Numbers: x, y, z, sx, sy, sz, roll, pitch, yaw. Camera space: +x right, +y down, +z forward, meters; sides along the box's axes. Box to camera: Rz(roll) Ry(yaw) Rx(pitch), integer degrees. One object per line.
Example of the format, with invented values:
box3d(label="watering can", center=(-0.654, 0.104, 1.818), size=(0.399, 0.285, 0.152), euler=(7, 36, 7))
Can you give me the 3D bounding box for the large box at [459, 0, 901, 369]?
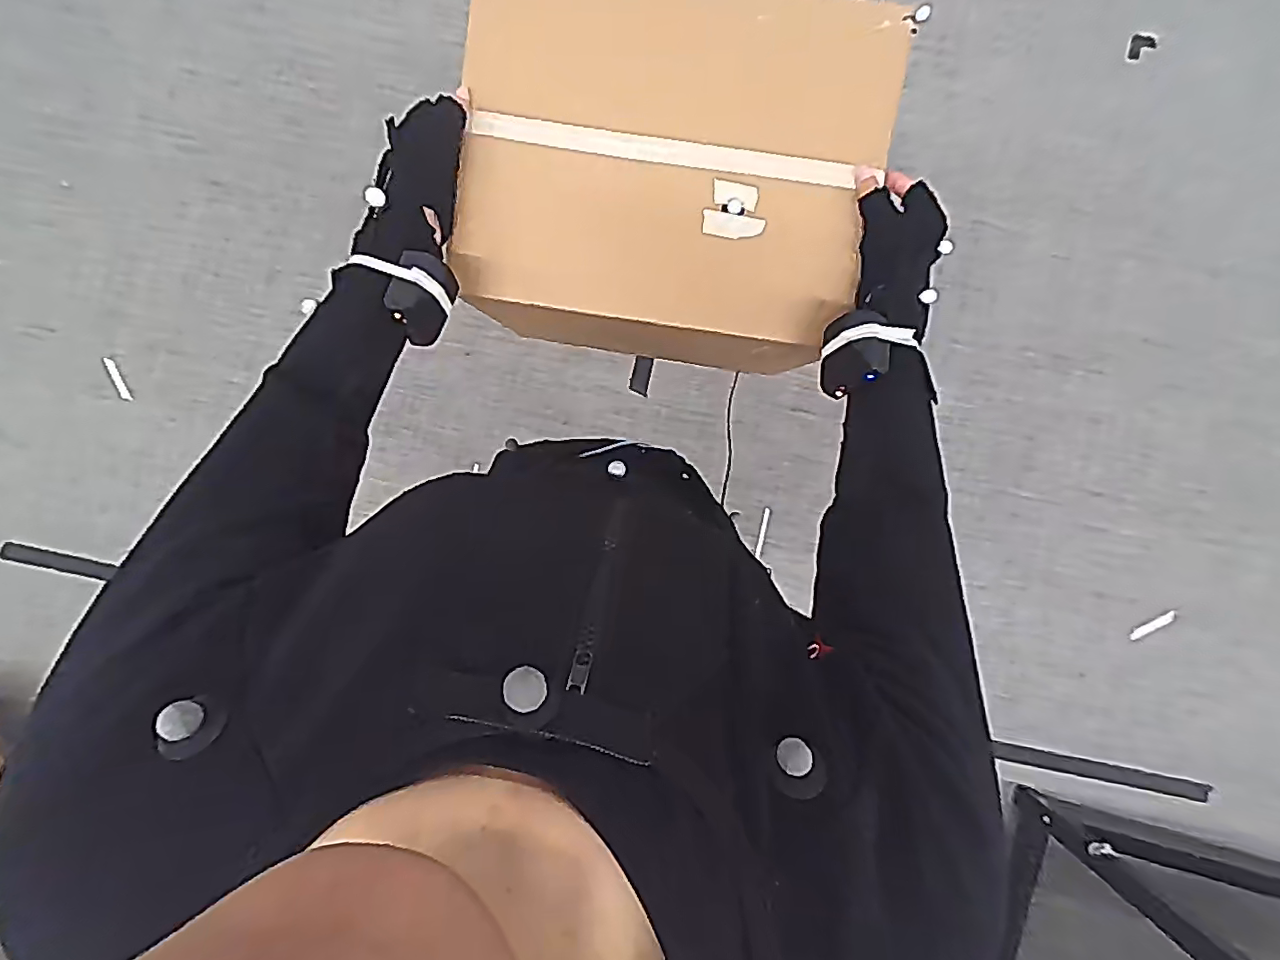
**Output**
box3d(label="large box", center=(0.031, -0.330, 0.672), size=(0.408, 0.320, 0.320), euler=(8, 97, -1))
